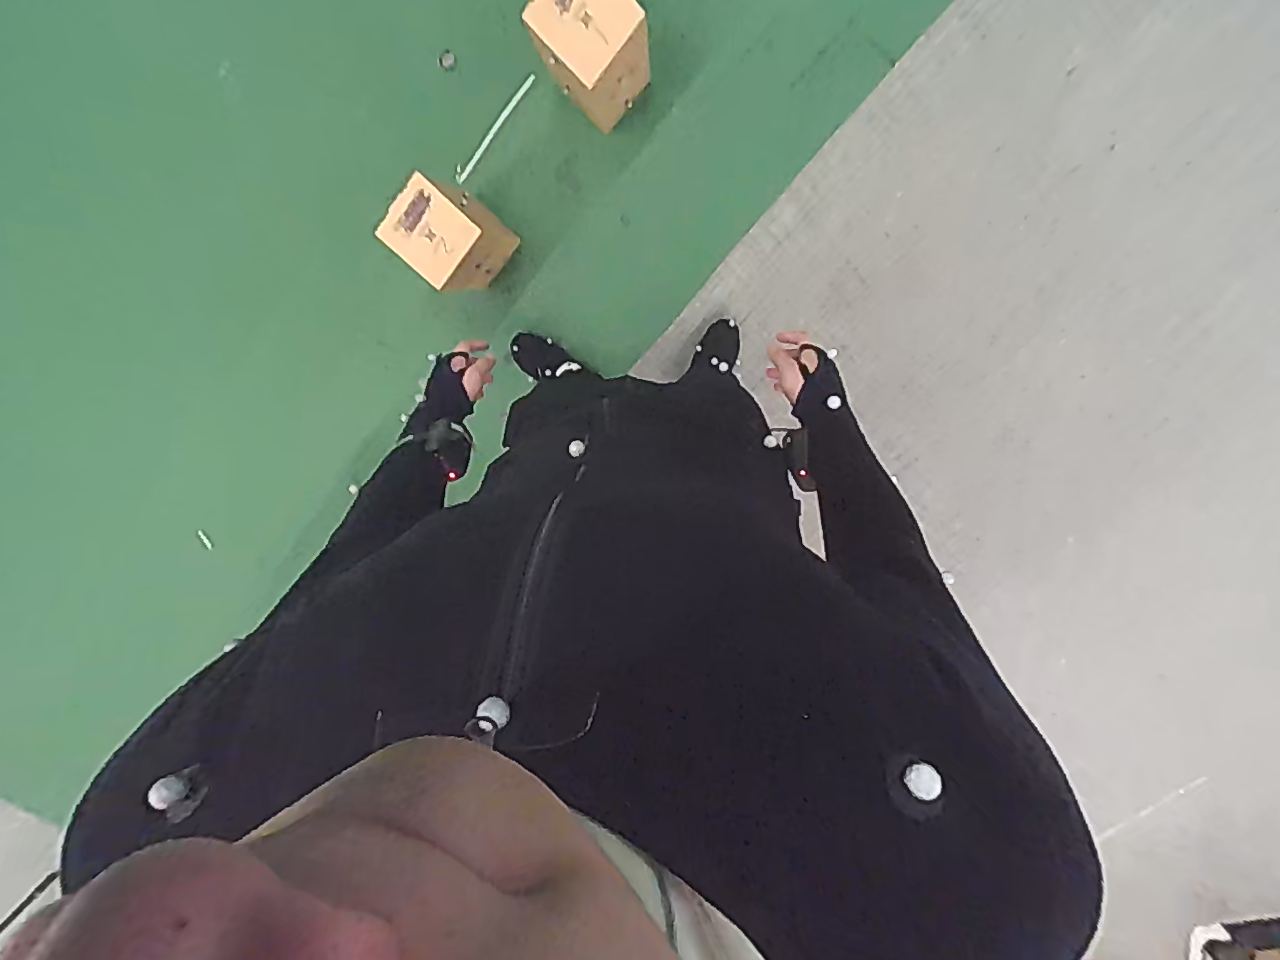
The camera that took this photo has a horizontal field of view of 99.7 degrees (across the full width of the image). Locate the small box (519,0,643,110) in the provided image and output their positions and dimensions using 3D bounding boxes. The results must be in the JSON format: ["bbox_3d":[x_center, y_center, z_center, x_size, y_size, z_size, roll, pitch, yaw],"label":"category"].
[{"bbox_3d":[-0.110,-0.894,1.086,0.179,0.176,0.168,41,106,-12],"label":"small box"}]

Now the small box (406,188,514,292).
[{"bbox_3d":[-0.448,-0.604,1.377,0.179,0.176,0.168,41,106,-11],"label":"small box"}]

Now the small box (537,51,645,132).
[{"bbox_3d":[-0.106,-0.947,1.241,0.179,0.176,0.168,42,106,-12],"label":"small box"}]
